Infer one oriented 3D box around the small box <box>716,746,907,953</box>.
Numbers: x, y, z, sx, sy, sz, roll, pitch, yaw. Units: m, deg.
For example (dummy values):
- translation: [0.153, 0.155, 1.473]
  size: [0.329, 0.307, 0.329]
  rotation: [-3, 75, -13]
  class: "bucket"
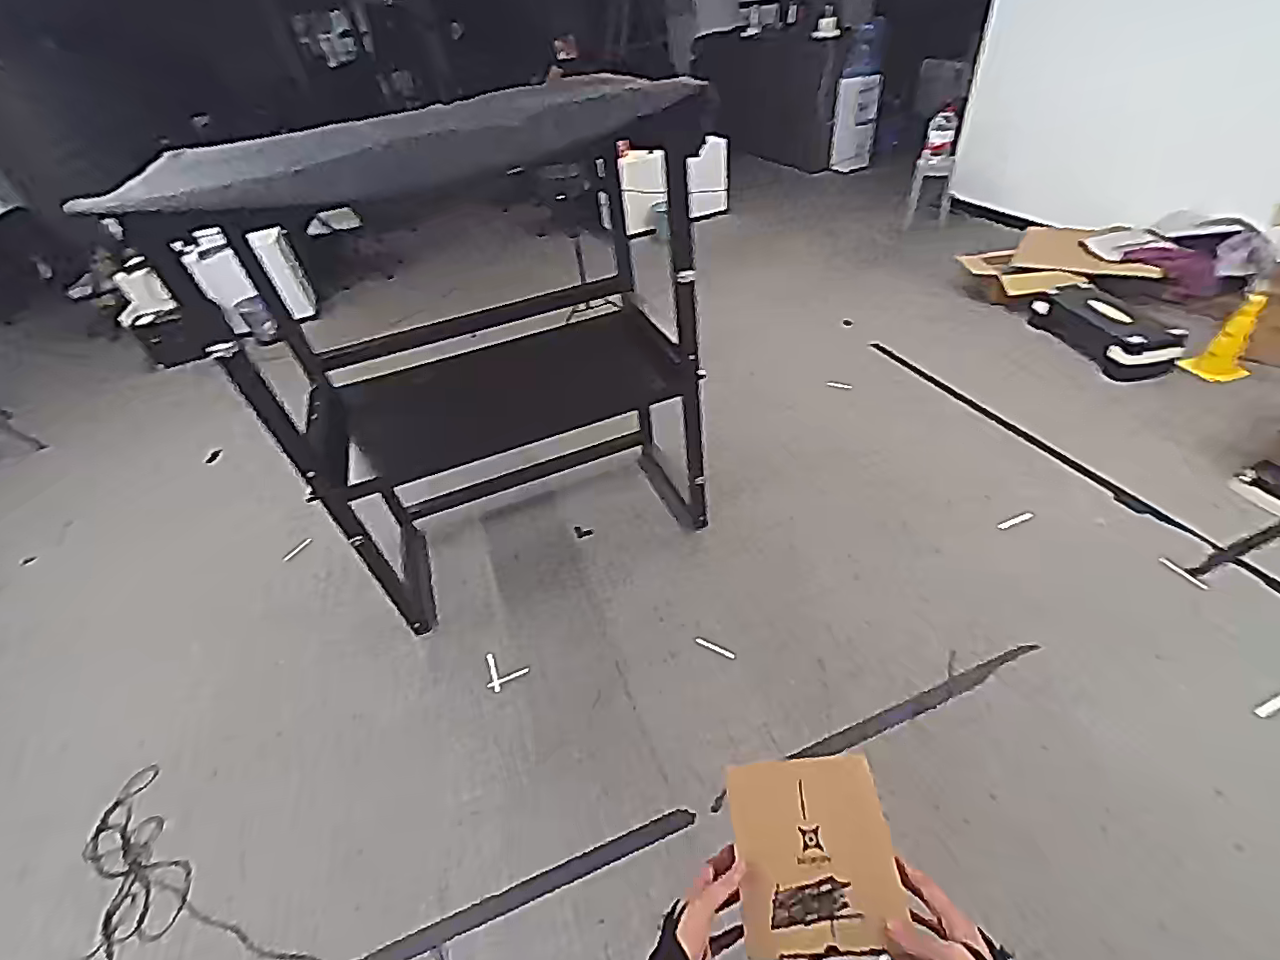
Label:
- translation: [0.187, 0.433, 0.636]
  size: [0.168, 0.176, 0.179]
  rotation: [-8, 50, 5]
  class: "small box"
